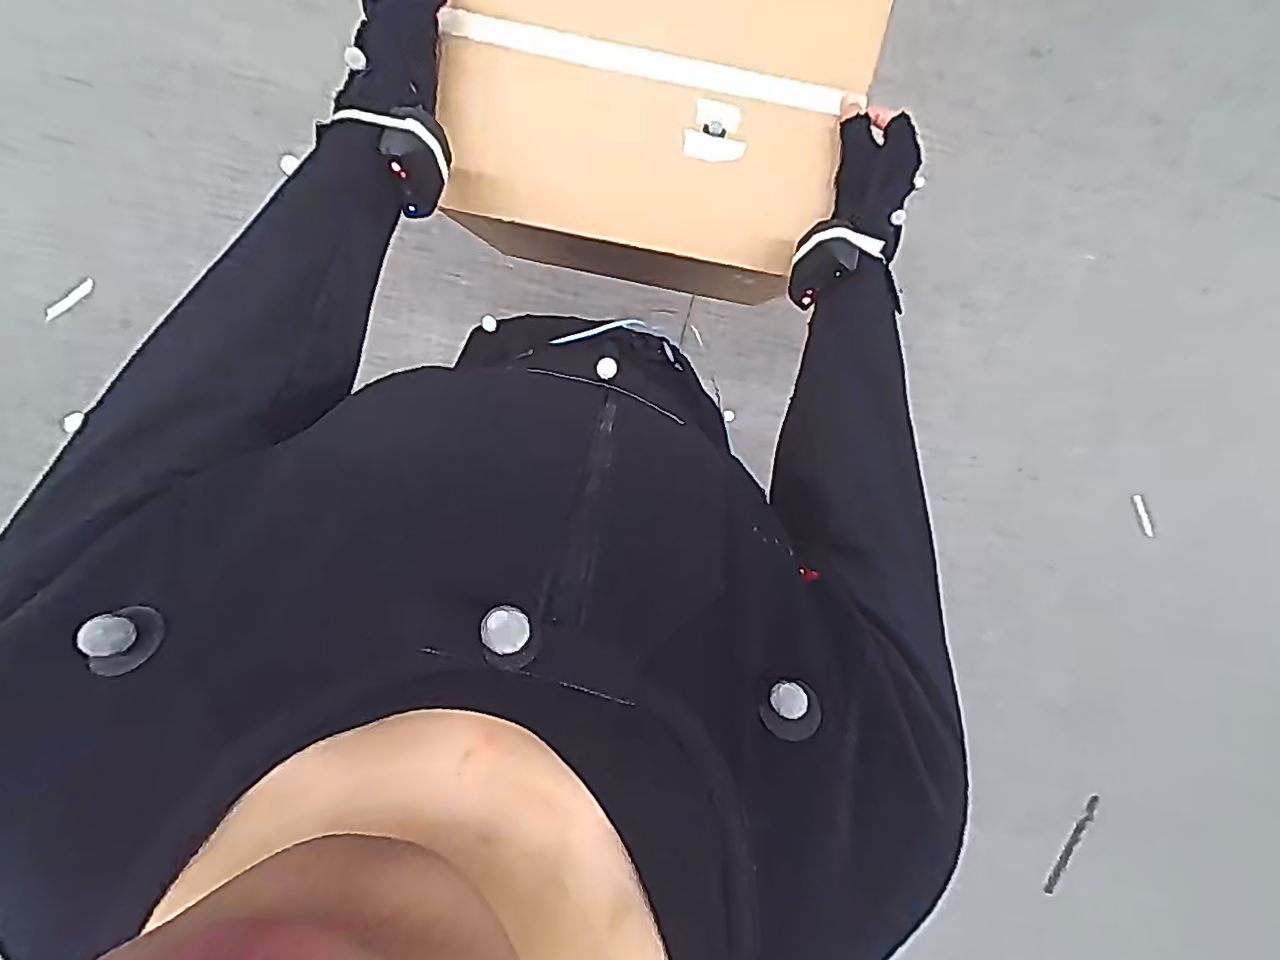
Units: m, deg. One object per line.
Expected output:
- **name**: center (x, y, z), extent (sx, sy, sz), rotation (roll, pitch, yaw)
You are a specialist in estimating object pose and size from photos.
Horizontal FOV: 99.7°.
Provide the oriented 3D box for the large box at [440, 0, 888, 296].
- **large box**: center (0.017, -0.430, 0.659), extent (0.408, 0.320, 0.320), rotation (11, 105, -3)
